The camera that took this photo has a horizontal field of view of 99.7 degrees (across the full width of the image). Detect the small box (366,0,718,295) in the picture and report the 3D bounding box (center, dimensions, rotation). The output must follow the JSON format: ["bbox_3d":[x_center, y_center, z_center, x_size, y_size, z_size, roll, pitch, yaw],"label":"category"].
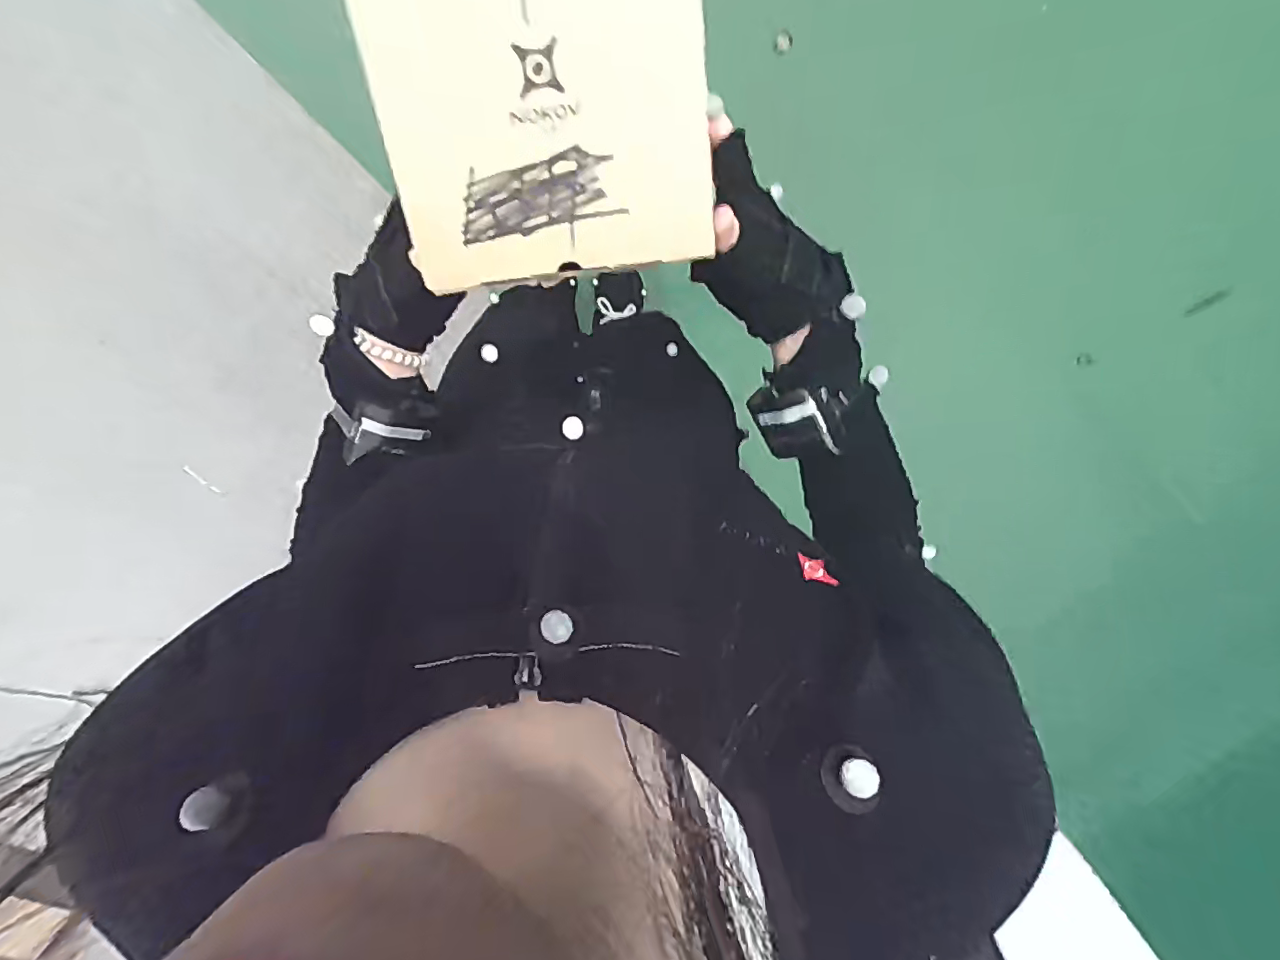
[{"bbox_3d":[-0.044,-0.227,0.345,0.168,0.176,0.179,-6,115,2],"label":"small box"}]
